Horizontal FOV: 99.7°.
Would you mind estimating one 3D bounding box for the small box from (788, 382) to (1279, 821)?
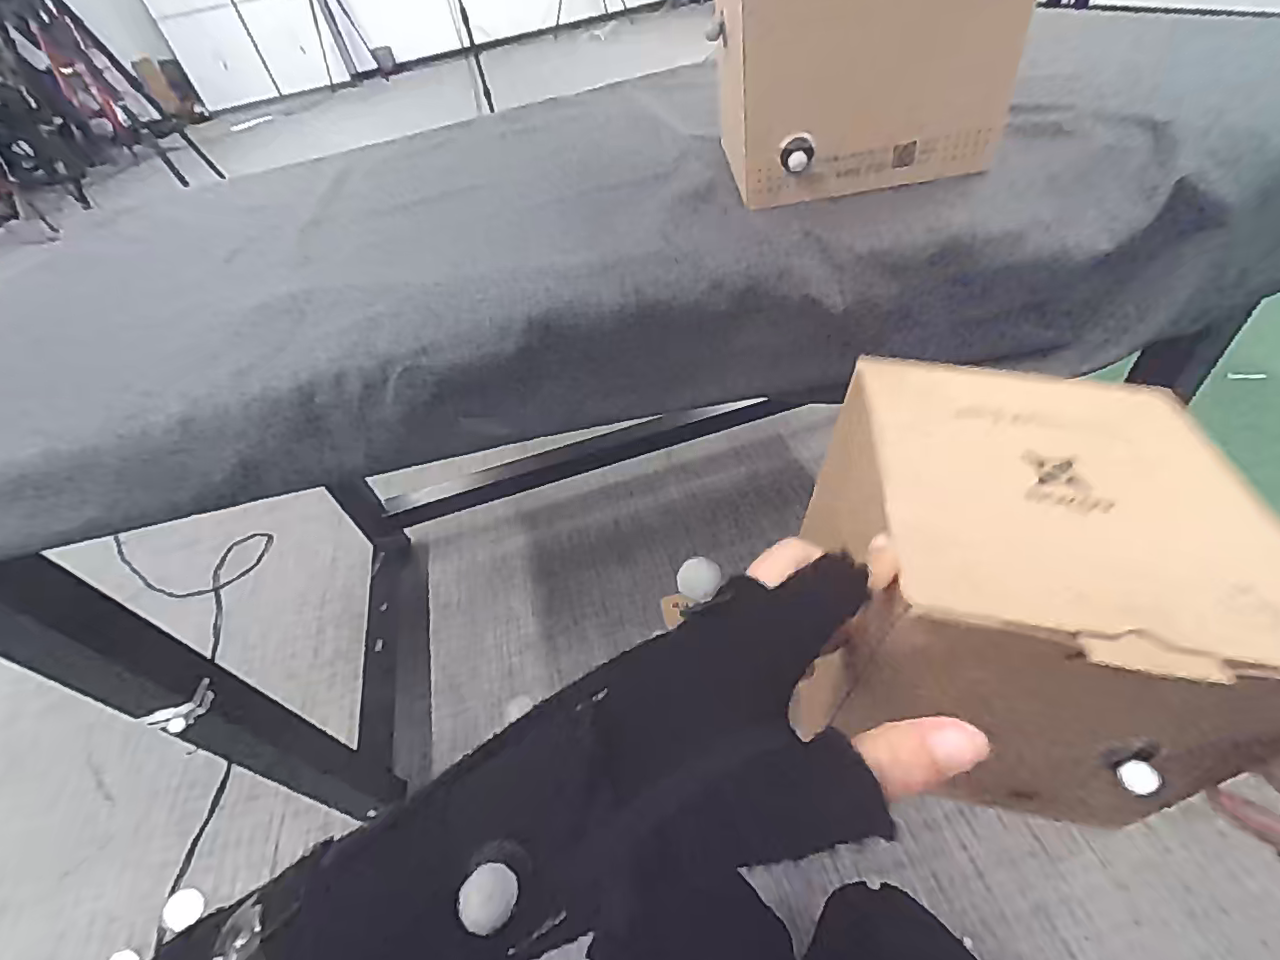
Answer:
[{"bbox_3d":[0.186,0.068,0.313,0.168,0.176,0.179,8,44,7],"label":"small box"}]

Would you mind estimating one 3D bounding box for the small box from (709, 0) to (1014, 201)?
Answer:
[{"bbox_3d":[0.139,-0.313,0.379,0.168,0.176,0.179,-6,44,7],"label":"small box"}]
